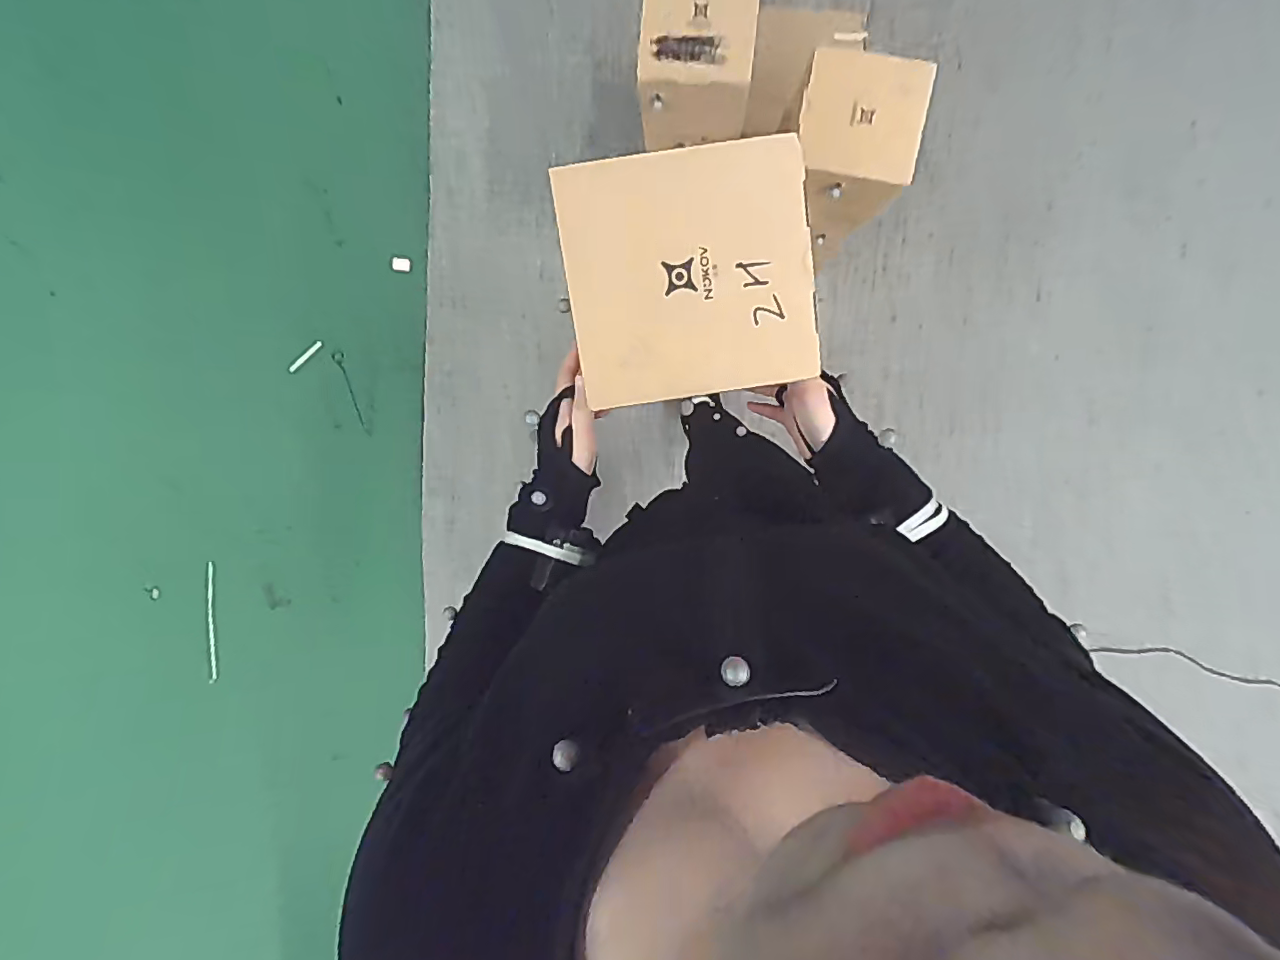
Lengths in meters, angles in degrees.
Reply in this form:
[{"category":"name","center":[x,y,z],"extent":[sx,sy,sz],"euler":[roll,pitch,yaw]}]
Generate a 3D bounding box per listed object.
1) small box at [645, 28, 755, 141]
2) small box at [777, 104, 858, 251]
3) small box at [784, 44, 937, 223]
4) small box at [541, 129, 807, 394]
[{"category":"small box","center":[0.106,-0.677,1.003],"extent":[0.168,0.176,0.179],"euler":[10,95,4]},{"category":"small box","center":[0.316,-0.545,1.001],"extent":[0.168,0.176,0.179],"euler":[10,95,1]},{"category":"small box","center":[0.317,-0.521,0.839],"extent":[0.179,0.176,0.168],"euler":[11,96,2]},{"category":"small box","center":[0.025,-0.160,0.452],"extent":[0.179,0.176,0.168],"euler":[-6,101,-1]}]
